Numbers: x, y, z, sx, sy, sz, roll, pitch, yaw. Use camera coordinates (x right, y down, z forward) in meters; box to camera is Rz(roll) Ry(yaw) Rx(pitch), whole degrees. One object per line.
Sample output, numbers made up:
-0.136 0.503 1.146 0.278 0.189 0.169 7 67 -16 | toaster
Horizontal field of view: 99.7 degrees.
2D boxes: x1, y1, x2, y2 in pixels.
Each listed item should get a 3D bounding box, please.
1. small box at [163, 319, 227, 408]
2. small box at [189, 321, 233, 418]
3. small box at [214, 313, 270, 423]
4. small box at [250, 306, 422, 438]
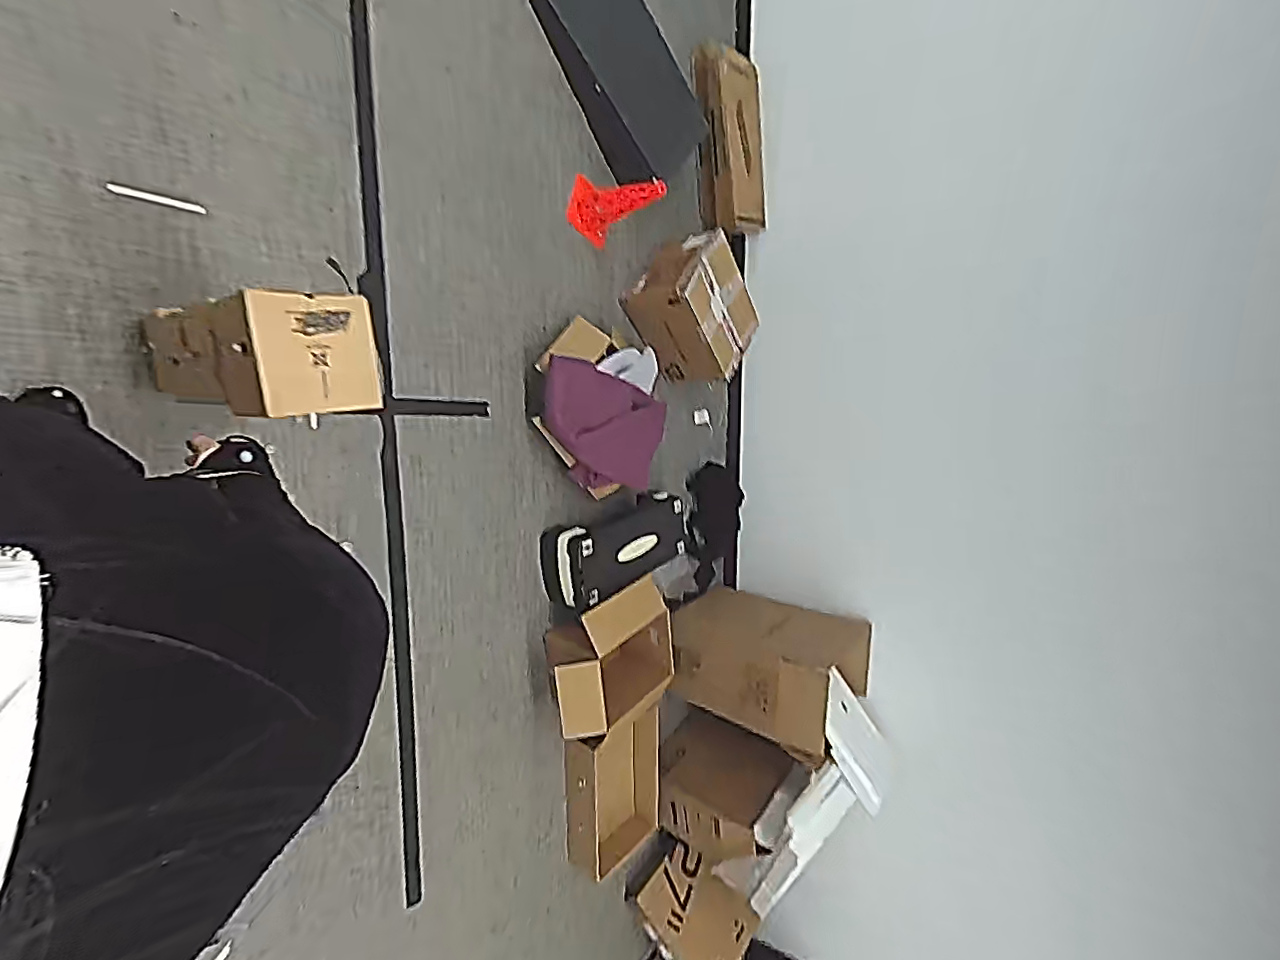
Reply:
-0.848 -0.241 1.124 0.179 0.176 0.168 -17 108 -48 | small box
-0.722 -0.208 1.024 0.179 0.176 0.168 -19 109 -48 | small box
-0.591 -0.185 0.925 0.179 0.176 0.168 -12 104 -50 | small box
-0.463 -0.162 0.824 0.168 0.176 0.179 -17 109 -49 | small box
